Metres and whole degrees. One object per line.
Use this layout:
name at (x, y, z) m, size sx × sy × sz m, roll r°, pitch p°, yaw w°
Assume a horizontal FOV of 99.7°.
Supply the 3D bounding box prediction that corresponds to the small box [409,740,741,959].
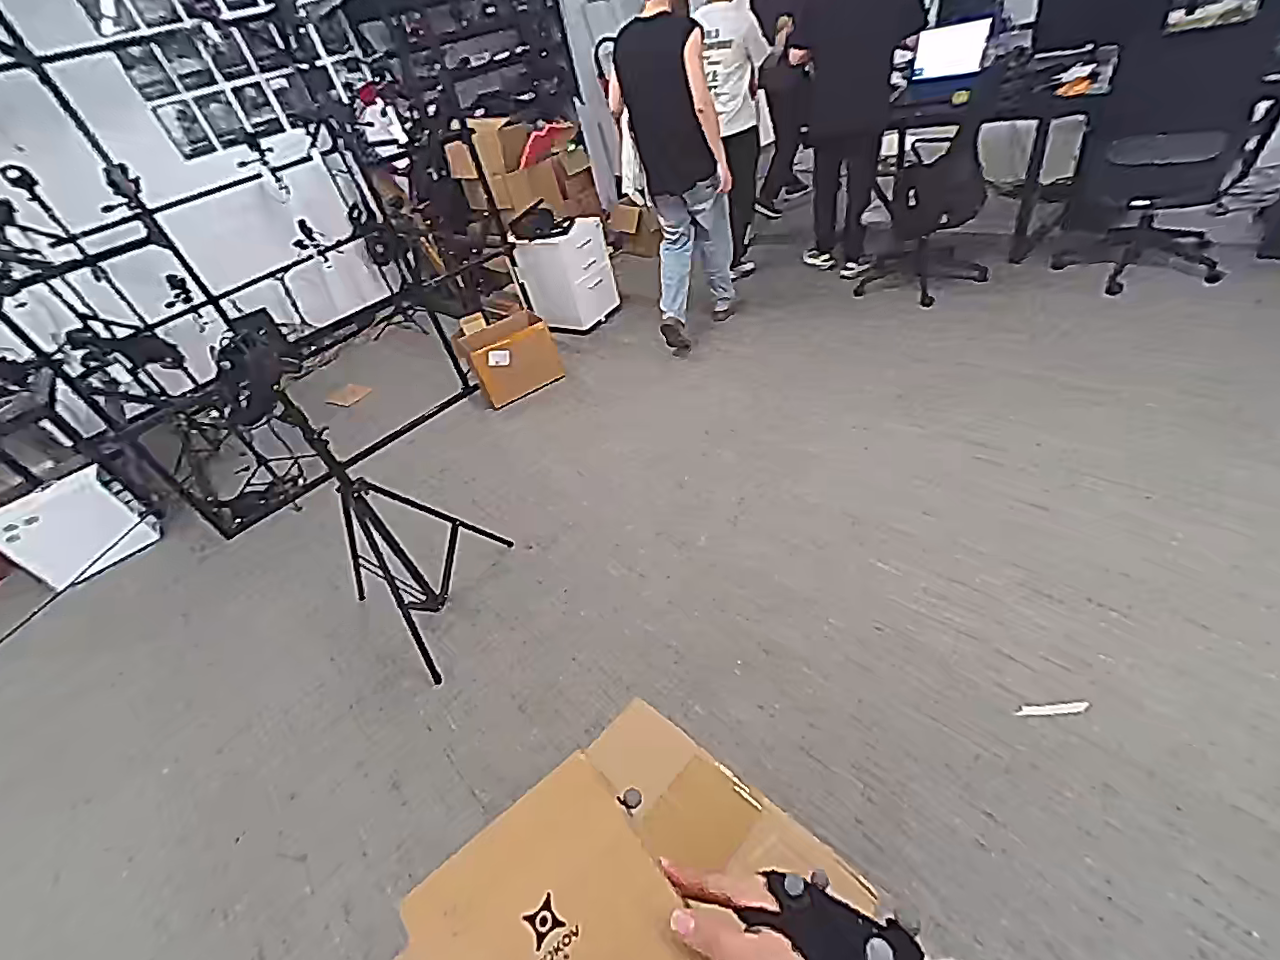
small box at (-0.039, 0.347, 0.414) m, size 0.168 × 0.176 × 0.179 m, roll -35°, pitch 49°, yaw -17°
